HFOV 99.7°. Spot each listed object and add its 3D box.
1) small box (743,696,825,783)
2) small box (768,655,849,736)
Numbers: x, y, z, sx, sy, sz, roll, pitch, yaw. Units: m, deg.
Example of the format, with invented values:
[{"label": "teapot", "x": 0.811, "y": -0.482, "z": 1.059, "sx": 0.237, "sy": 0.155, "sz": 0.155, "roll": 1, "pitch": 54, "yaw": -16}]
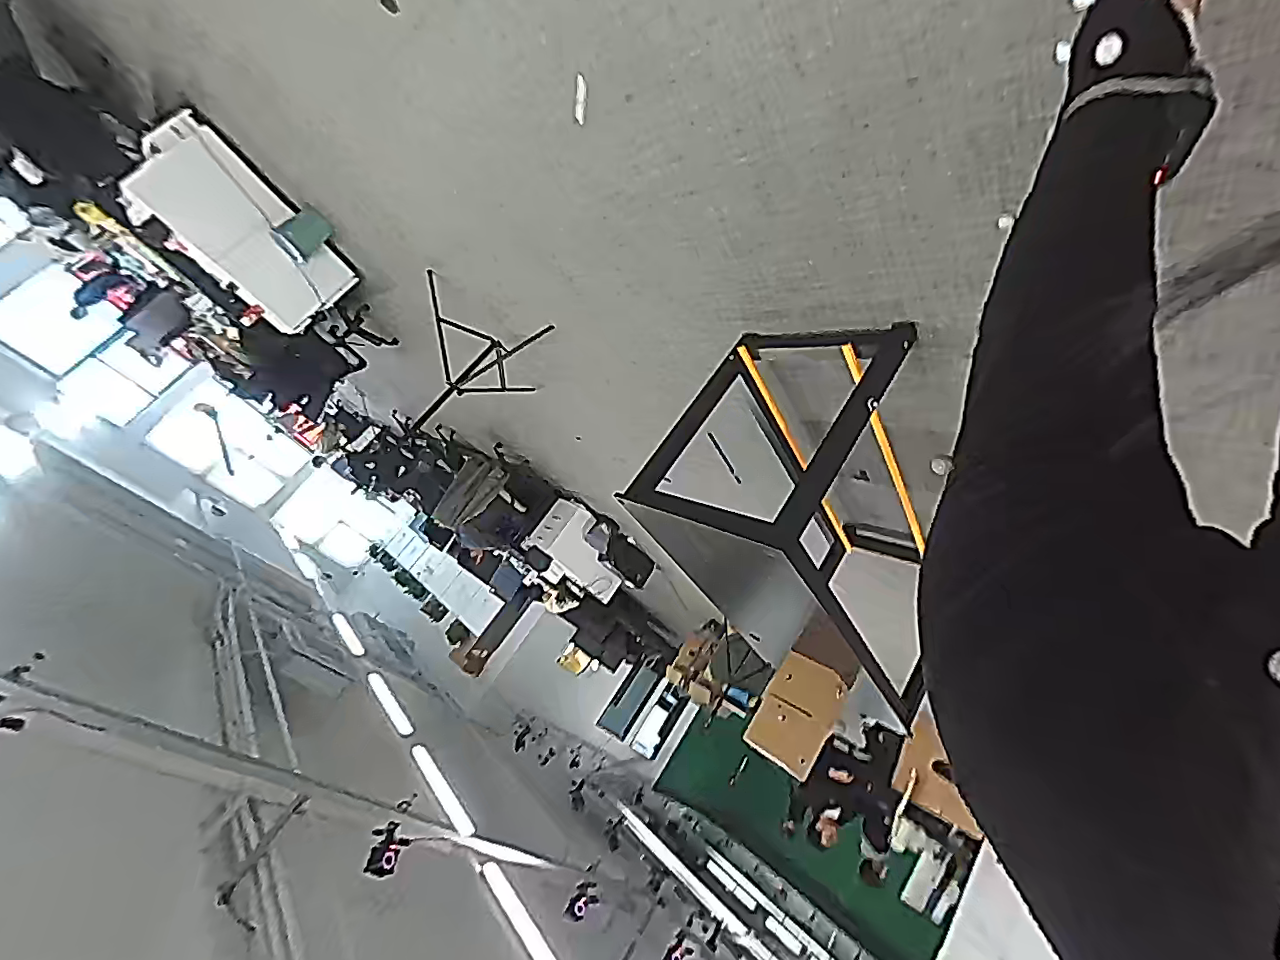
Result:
[{"label": "small box", "x": 0.473, "y": 0.838, "z": 1.755, "sx": 0.168, "sy": 0.176, "sz": 0.179, "roll": 15, "pitch": 152, "yaw": 50}, {"label": "small box", "x": 0.566, "y": 0.712, "z": 1.807, "sx": 0.179, "sy": 0.176, "sz": 0.168, "roll": 14, "pitch": 152, "yaw": 48}]
